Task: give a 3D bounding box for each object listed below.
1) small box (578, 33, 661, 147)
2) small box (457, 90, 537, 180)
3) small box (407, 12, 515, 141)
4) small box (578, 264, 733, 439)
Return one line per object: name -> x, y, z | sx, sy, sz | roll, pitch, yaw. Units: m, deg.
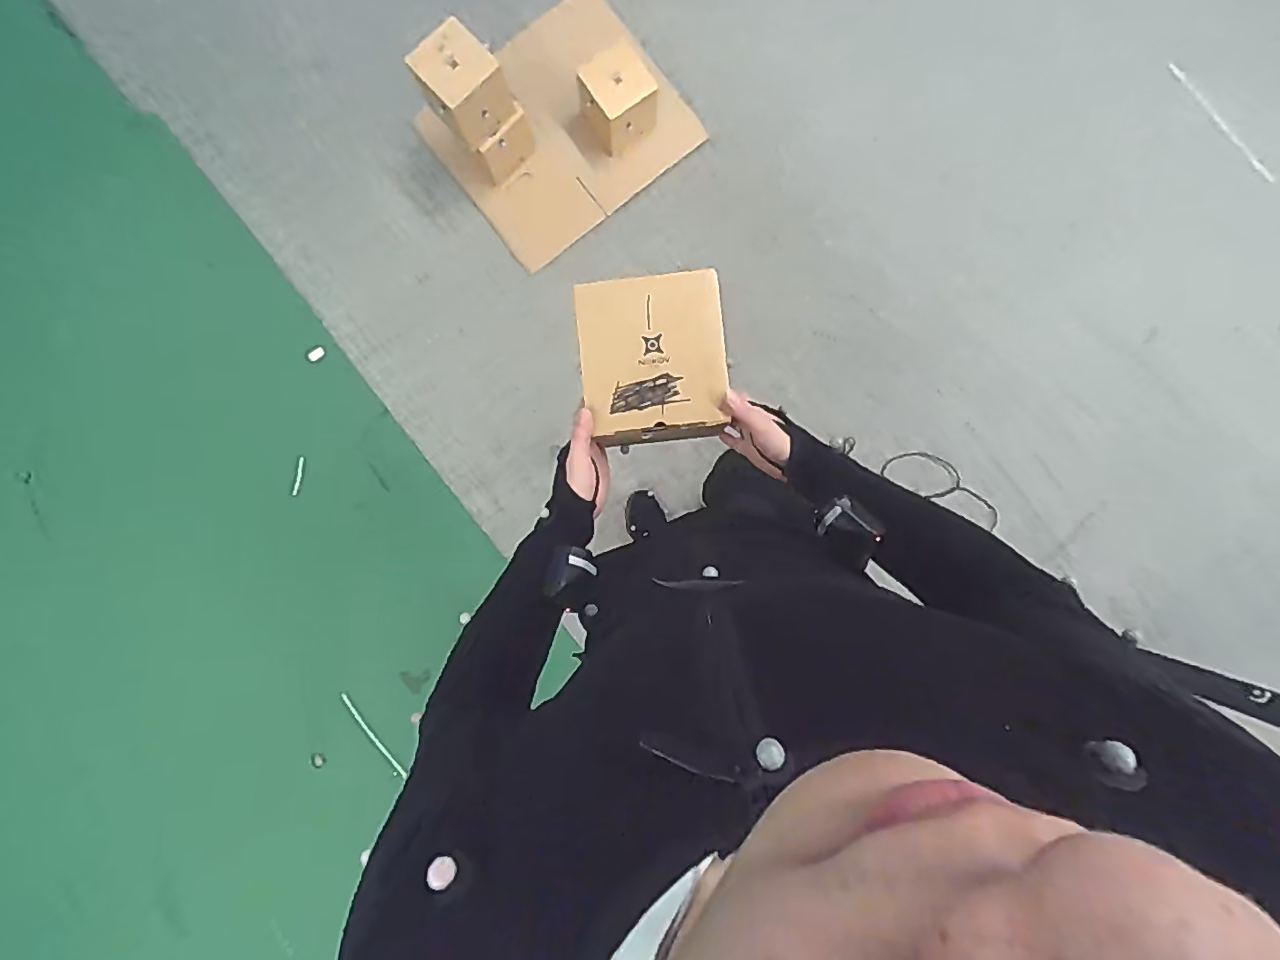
small box -> -0.053, -1.097, 1.544 | 0.168, 0.176, 0.179 | -35, 88, 0
small box -> -0.422, -1.013, 1.549 | 0.168, 0.176, 0.179 | -45, 89, 0
small box -> -0.448, -1.015, 1.385 | 0.168, 0.176, 0.179 | -43, 88, -1
small box -> 0.021, -0.146, 0.680 | 0.168, 0.176, 0.179 | -5, 88, 2
